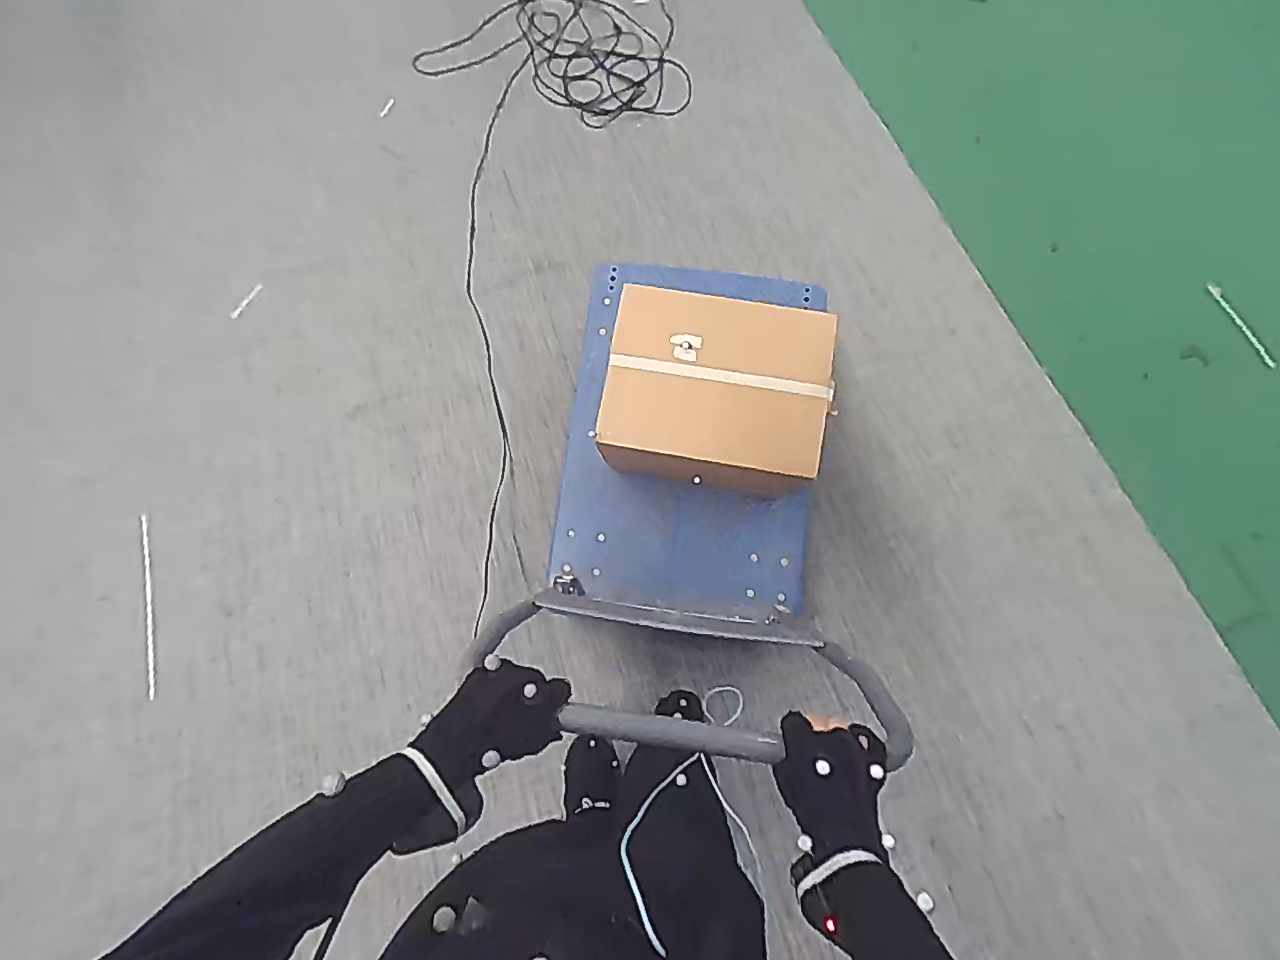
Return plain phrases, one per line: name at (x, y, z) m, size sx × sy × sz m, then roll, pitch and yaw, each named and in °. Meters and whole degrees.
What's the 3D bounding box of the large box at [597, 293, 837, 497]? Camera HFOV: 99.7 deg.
large box at (0.152, -0.155, 1.133) m, size 0.408 × 0.320 × 0.320 m, roll 10°, pitch 82°, yaw 5°
